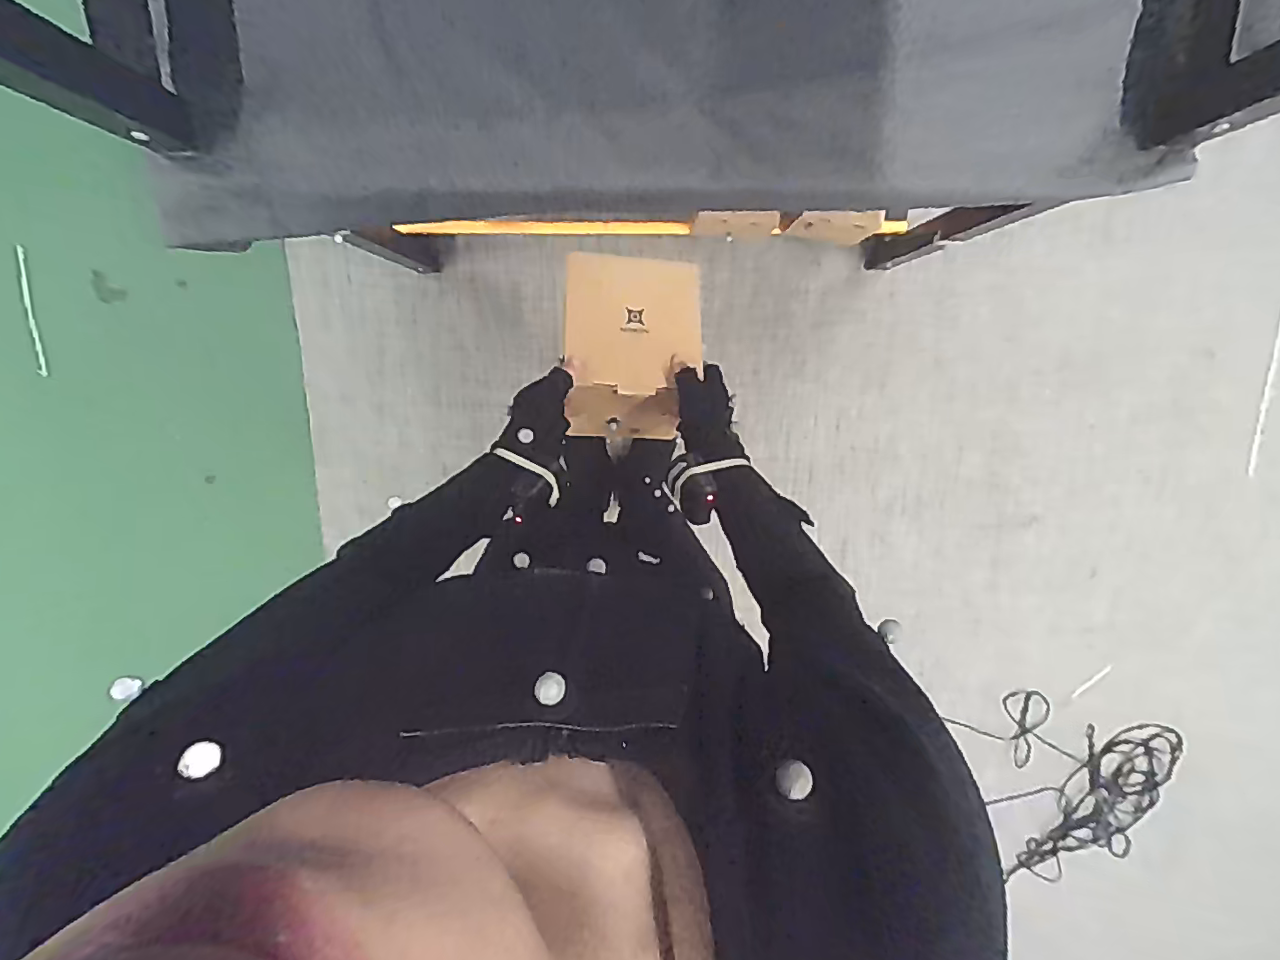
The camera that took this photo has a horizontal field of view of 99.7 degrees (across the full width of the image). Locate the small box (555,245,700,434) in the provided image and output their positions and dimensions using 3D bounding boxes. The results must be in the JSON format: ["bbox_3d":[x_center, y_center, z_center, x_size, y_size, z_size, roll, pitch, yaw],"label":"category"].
[{"bbox_3d":[-0.025,-0.174,0.712,0.168,0.176,0.179,2,76,-10],"label":"small box"}]
